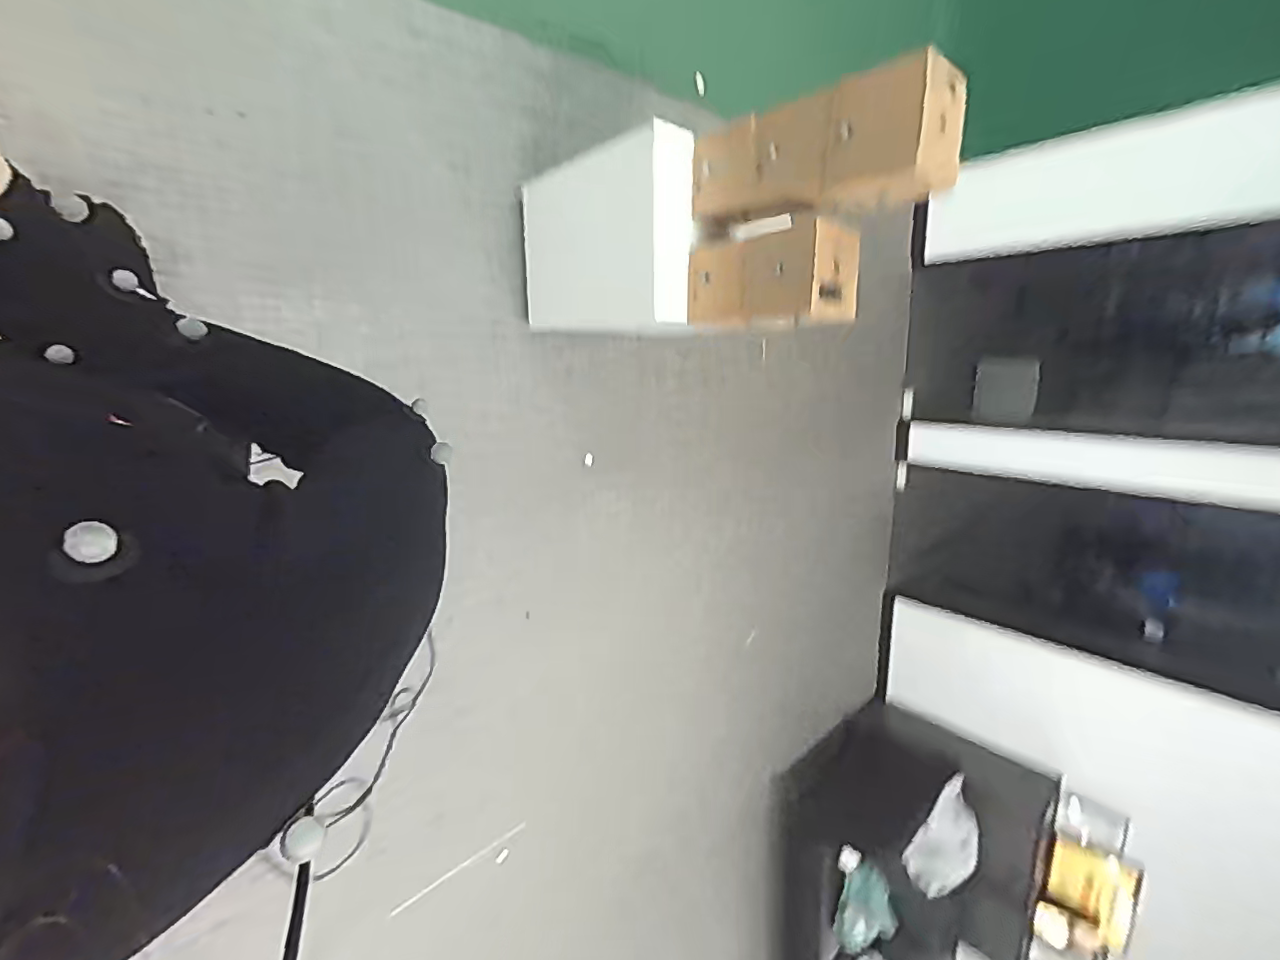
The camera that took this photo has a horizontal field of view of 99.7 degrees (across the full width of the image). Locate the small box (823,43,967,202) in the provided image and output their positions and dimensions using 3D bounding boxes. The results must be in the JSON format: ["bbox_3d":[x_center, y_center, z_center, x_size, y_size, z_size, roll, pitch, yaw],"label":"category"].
[{"bbox_3d":[0.444,-0.612,0.958,0.168,0.176,0.179,-9,107,-41],"label":"small box"}]

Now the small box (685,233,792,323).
[{"bbox_3d":[0.225,-0.455,1.246,0.179,0.176,0.168,-9,105,-40],"label":"small box"}]

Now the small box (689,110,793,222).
[{"bbox_3d":[0.230,-0.682,1.198,0.179,0.176,0.168,-11,108,-39],"label":"small box"}]

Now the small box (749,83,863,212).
[{"bbox_3d":[0.342,-0.648,1.082,0.179,0.176,0.168,-10,107,-40],"label":"small box"}]
